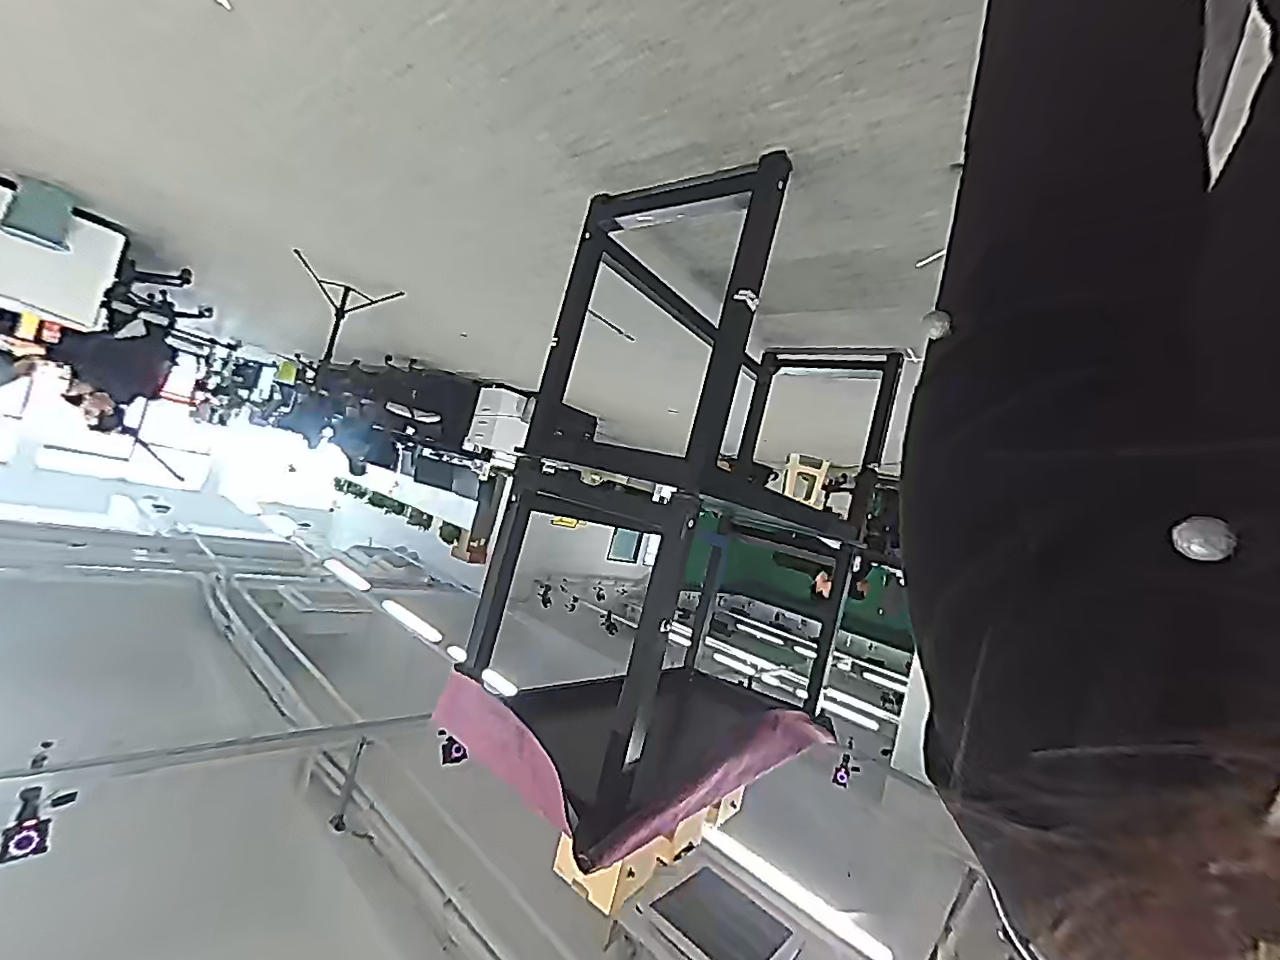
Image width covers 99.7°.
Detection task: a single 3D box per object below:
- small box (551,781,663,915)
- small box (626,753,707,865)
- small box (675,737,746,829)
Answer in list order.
[{"bbox_3d":[-0.071,0.823,1.235,0.168,0.176,0.179,14,179,34],"label":"small box"},{"bbox_3d":[0.062,0.865,1.443,0.179,0.176,0.168,14,178,39],"label":"small box"},{"bbox_3d":[0.207,0.912,1.652,0.168,0.176,0.179,13,177,35],"label":"small box"}]
